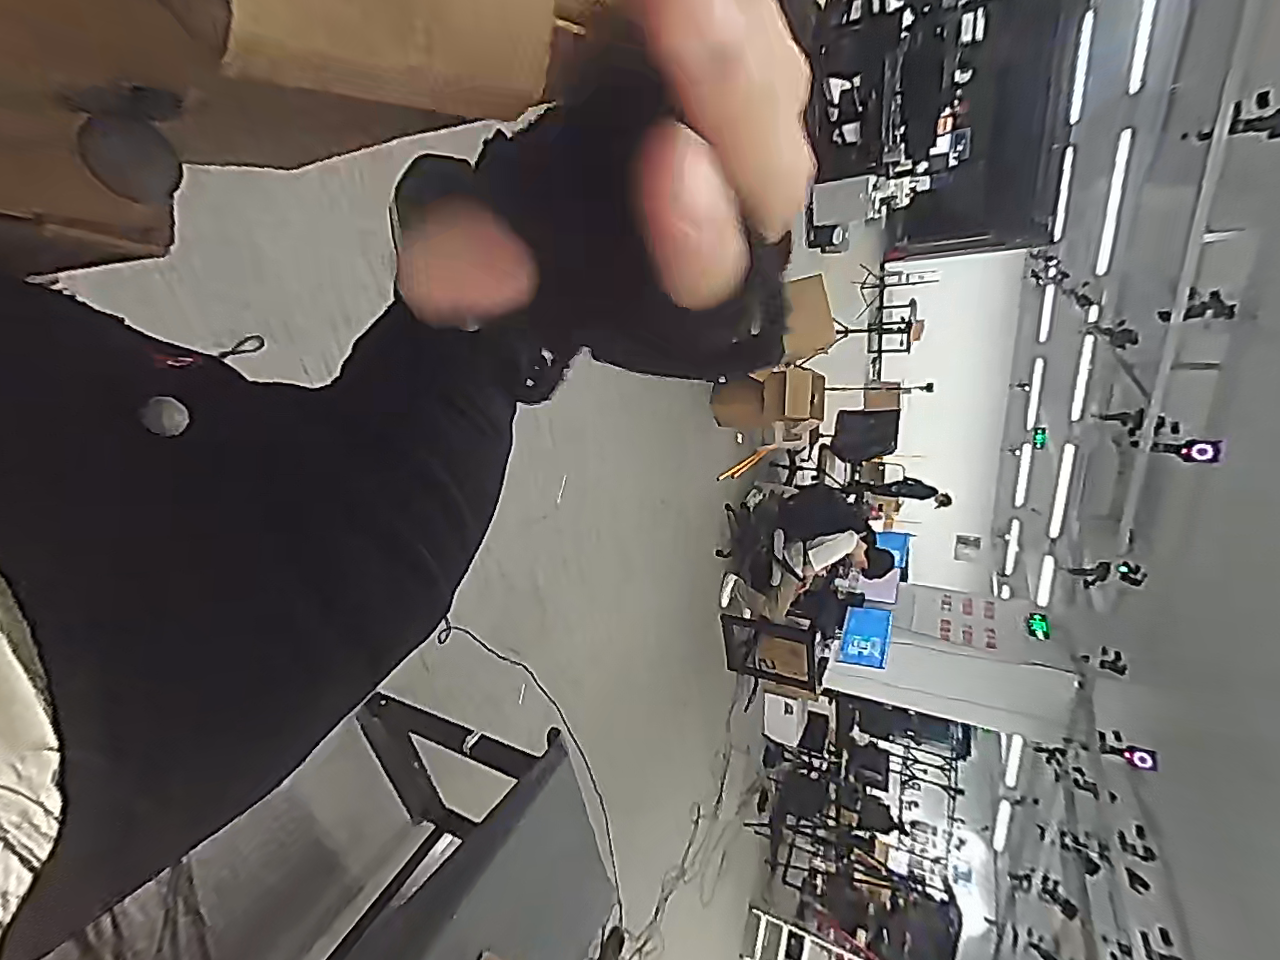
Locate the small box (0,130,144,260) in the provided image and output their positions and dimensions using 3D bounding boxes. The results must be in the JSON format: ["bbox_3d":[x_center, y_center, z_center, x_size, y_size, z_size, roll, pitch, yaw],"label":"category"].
[{"bbox_3d":[-0.261,-0.161,0.129,0.168,0.176,0.179,-12,108,-60],"label":"small box"}]

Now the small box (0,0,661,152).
[{"bbox_3d":[-0.111,-0.150,0.064,0.168,0.176,0.179,-40,133,-51],"label":"small box"}]
